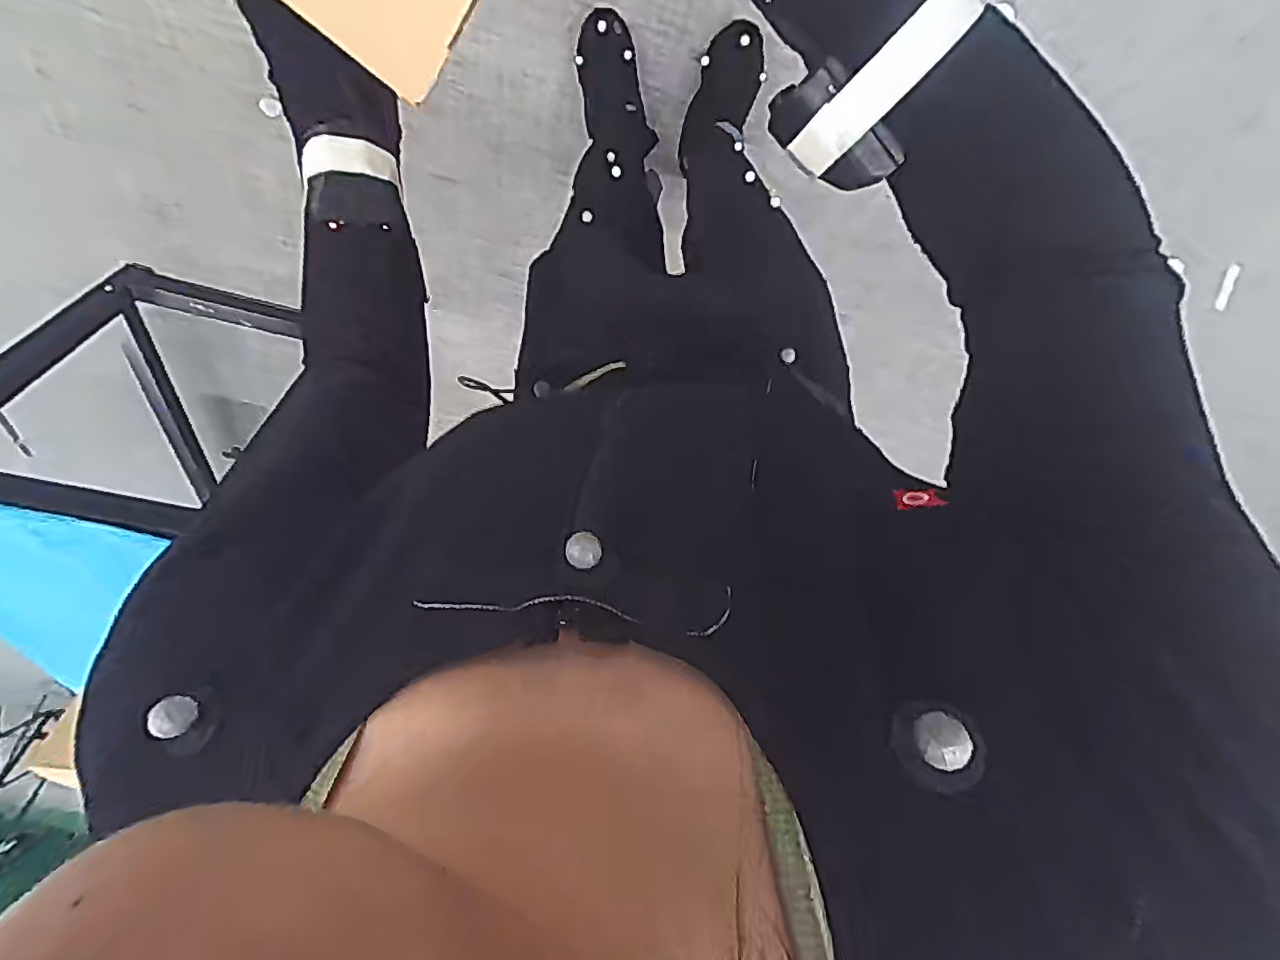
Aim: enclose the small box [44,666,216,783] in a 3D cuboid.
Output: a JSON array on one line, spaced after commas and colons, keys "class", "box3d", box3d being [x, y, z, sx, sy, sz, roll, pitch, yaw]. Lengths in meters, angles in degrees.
[{"class": "small box", "box3d": [-1.042, 0.511, 1.129, 0.168, 0.176, 0.179, 10, 138, -6]}]
